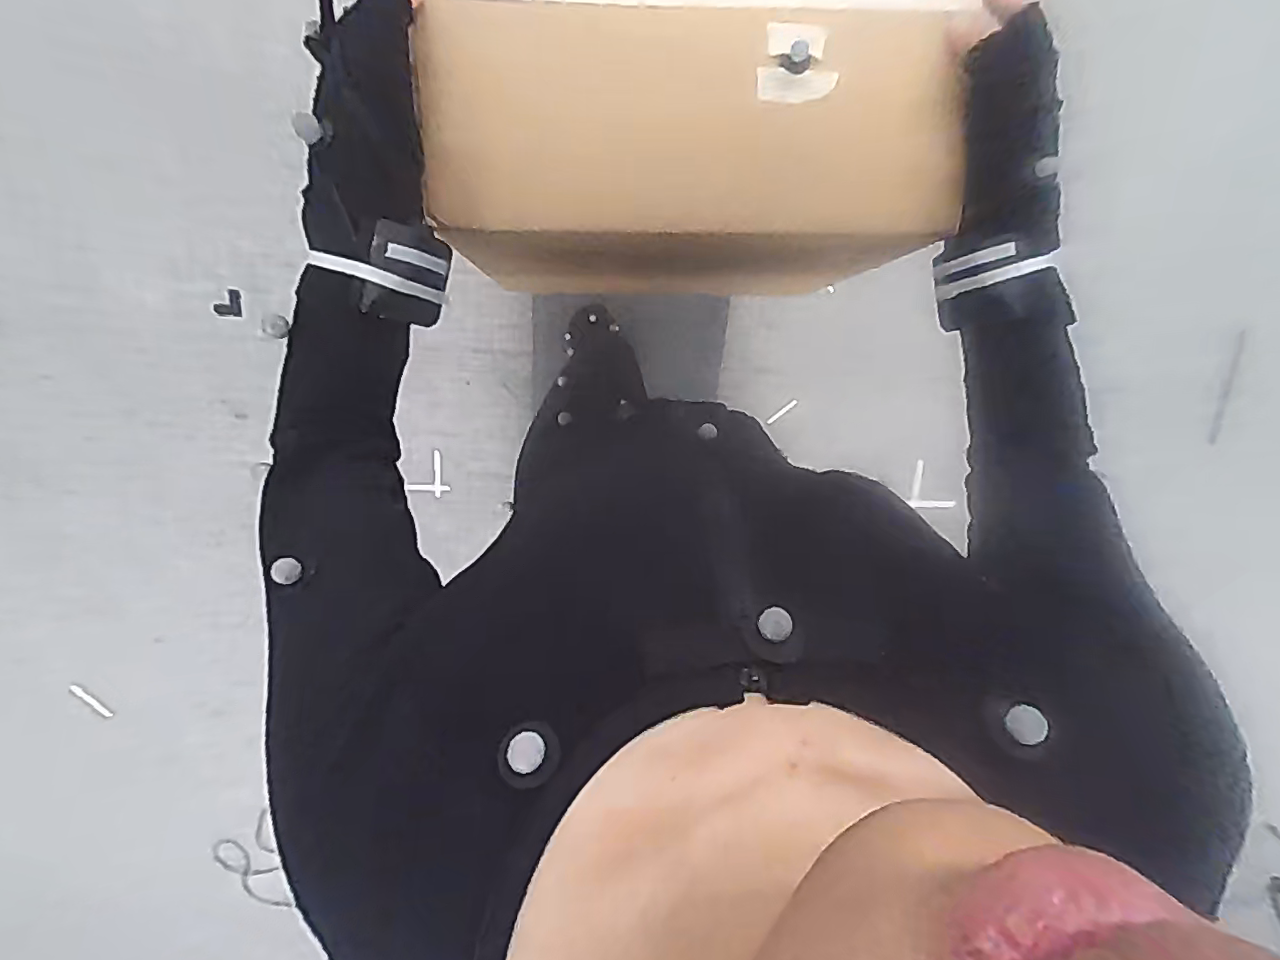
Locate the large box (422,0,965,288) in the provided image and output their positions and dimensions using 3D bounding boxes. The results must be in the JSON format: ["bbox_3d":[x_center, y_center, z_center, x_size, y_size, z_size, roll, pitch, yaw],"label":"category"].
[{"bbox_3d":[0.032,-0.378,0.534,0.408,0.320,0.320,-1,101,-4],"label":"large box"}]
